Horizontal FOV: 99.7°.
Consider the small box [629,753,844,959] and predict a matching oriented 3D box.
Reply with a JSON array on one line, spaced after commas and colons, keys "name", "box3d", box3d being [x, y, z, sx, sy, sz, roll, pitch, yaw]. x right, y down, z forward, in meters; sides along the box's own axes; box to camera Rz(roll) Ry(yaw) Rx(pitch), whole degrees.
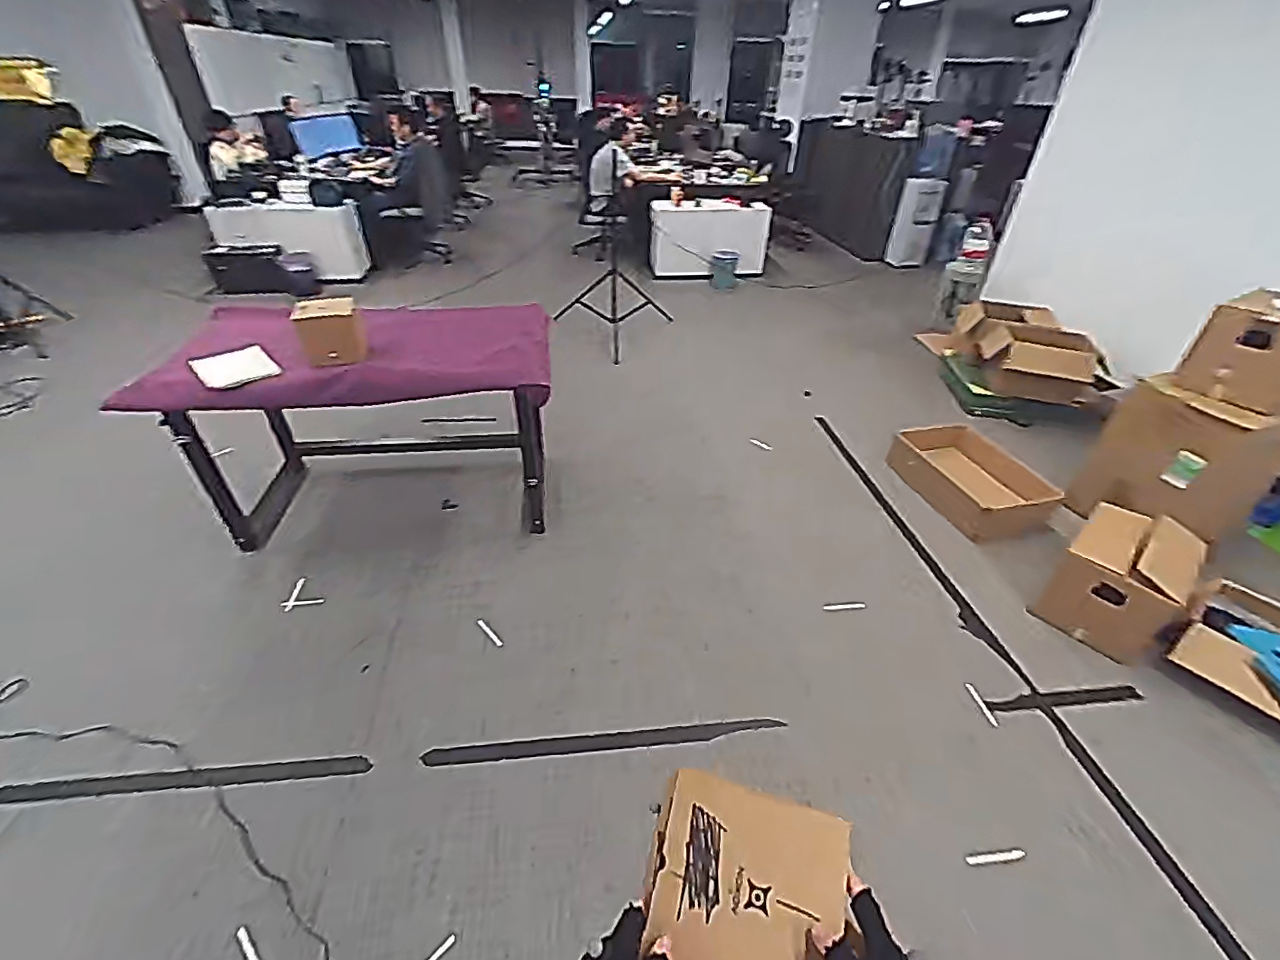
[{"name": "small box", "box3d": [0.092, 0.407, 0.558, 0.179, 0.176, 0.168, 14, 56, 7]}]

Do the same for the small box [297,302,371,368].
[{"name": "small box", "box3d": [-1.037, -0.496, 1.850, 0.179, 0.176, 0.168, -10, 38, -16]}]
